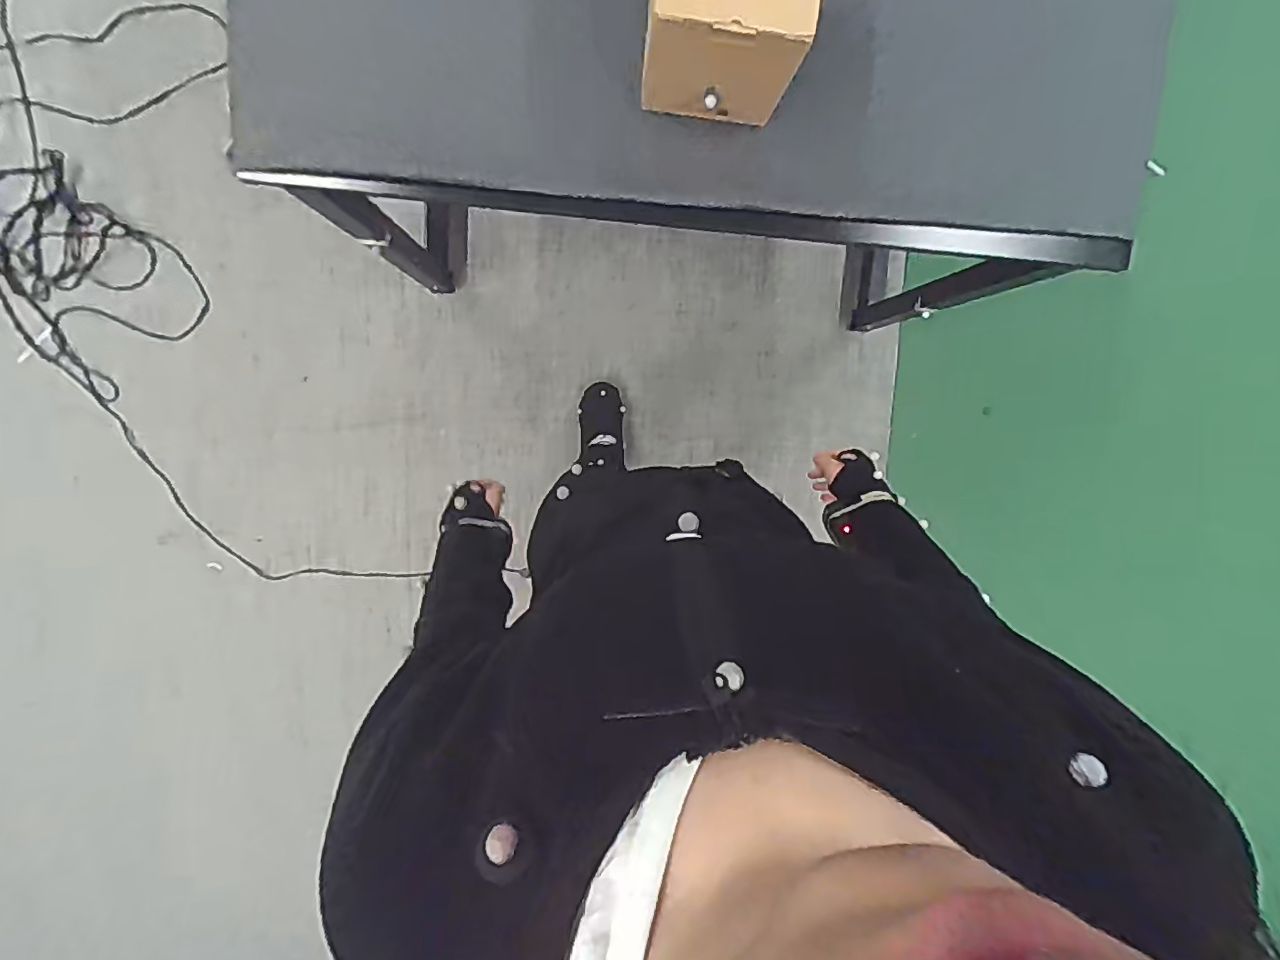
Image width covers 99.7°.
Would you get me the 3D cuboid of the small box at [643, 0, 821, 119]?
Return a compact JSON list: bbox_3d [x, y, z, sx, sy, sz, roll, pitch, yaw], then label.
[{"bbox_3d":[0.096,-0.546,0.598,0.168,0.176,0.179,5,96,-5],"label":"small box"}]
